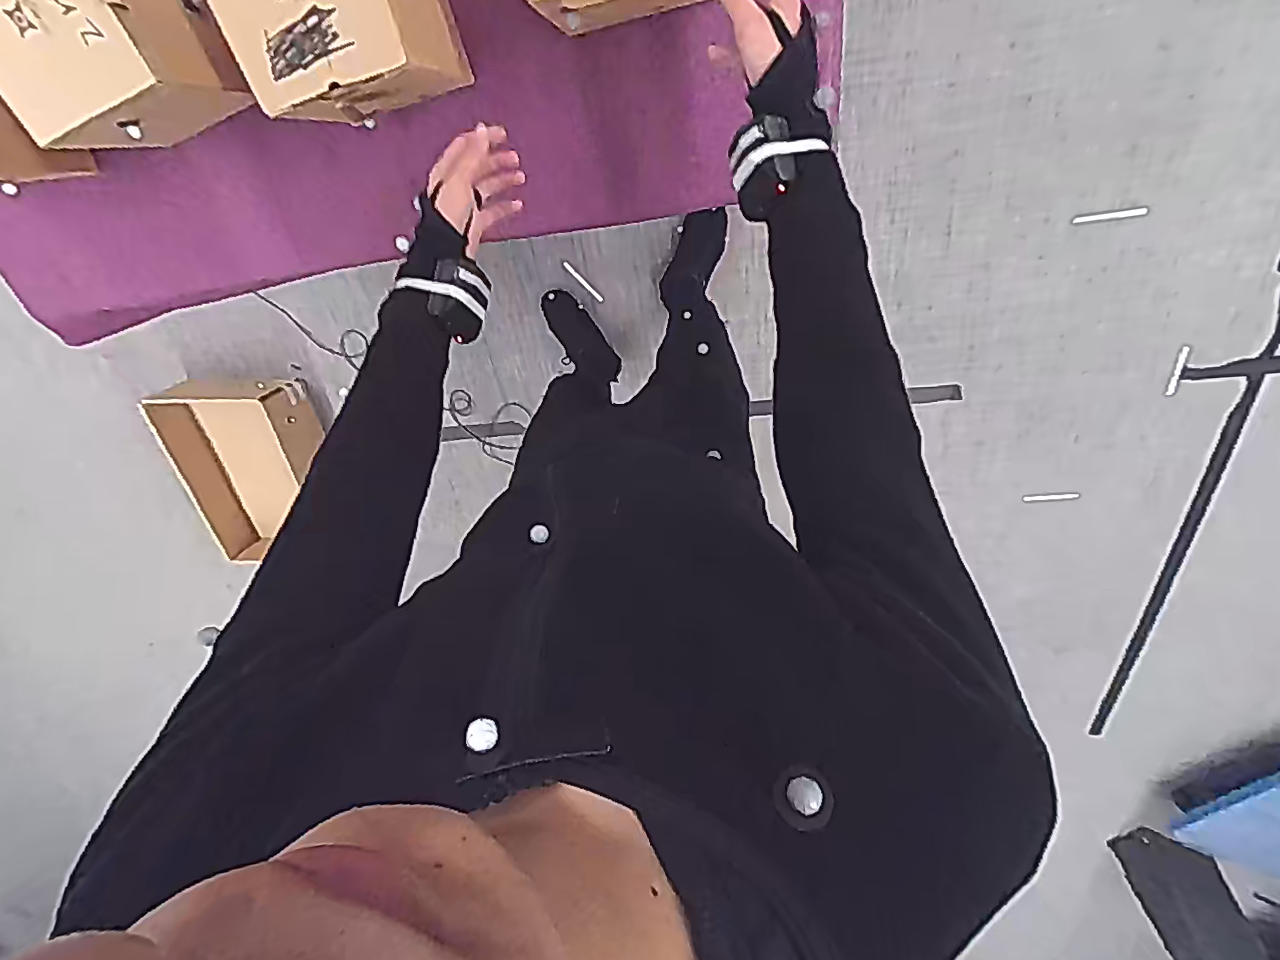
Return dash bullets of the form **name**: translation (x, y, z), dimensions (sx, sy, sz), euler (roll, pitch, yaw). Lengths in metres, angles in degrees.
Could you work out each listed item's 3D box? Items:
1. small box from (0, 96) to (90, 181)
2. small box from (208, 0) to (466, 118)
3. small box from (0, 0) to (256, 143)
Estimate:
- **small box**: translation (-0.818, -0.442, 0.622), dimensions (0.168, 0.176, 0.179), euler (-1, 121, 6)
- **small box**: translation (-0.301, -0.484, 0.540), dimensions (0.168, 0.176, 0.179), euler (-9, 120, 12)
- **small box**: translation (-0.564, -0.475, 0.573), dimensions (0.179, 0.176, 0.168), euler (-13, 120, 14)
